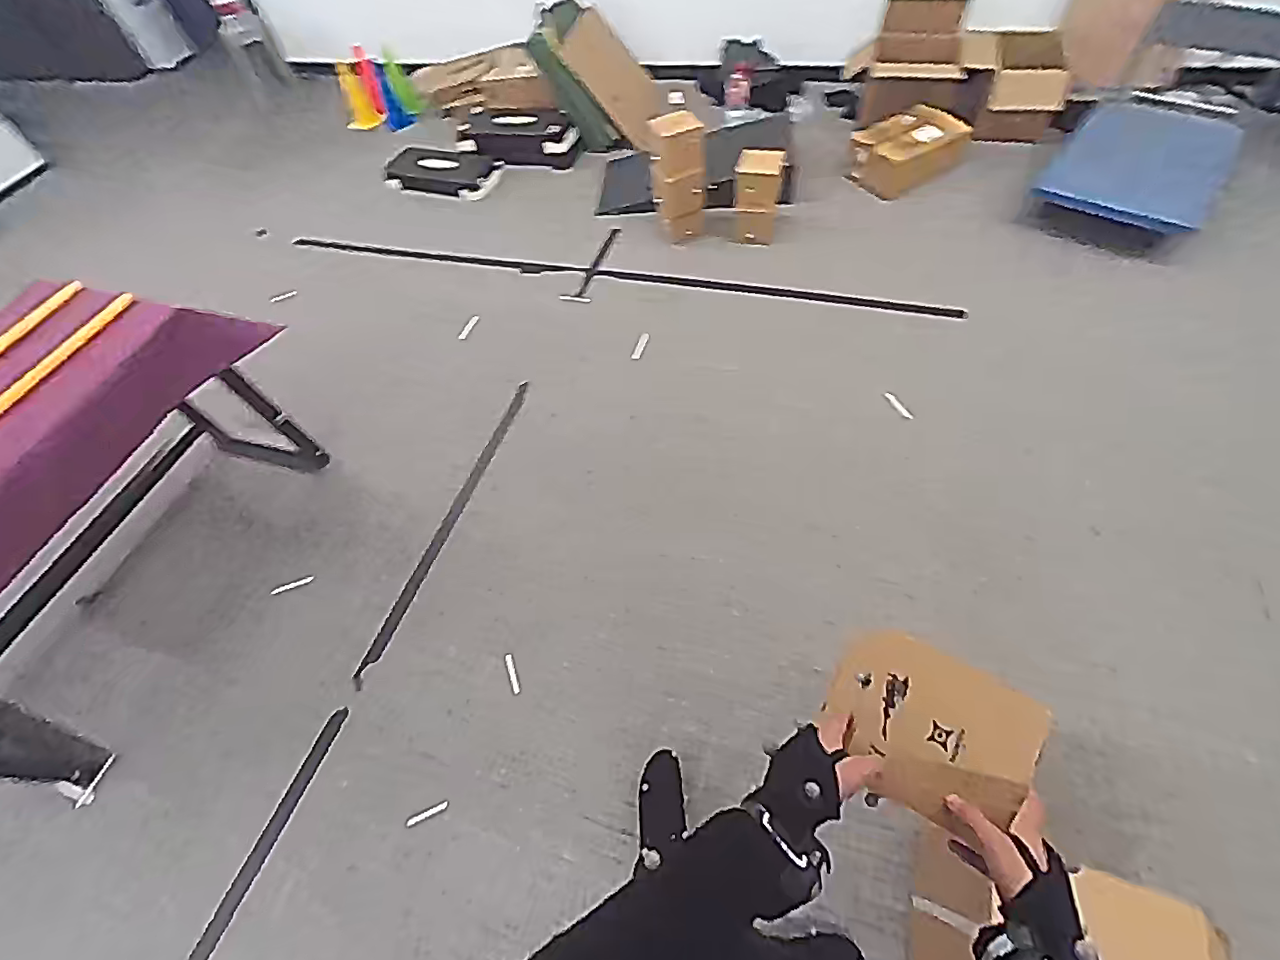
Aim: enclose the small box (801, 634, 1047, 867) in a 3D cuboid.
[{"bbox_3d":[0.318,0.299,0.639,0.179,0.176,0.168,27,74,11],"label":"small box"}]
